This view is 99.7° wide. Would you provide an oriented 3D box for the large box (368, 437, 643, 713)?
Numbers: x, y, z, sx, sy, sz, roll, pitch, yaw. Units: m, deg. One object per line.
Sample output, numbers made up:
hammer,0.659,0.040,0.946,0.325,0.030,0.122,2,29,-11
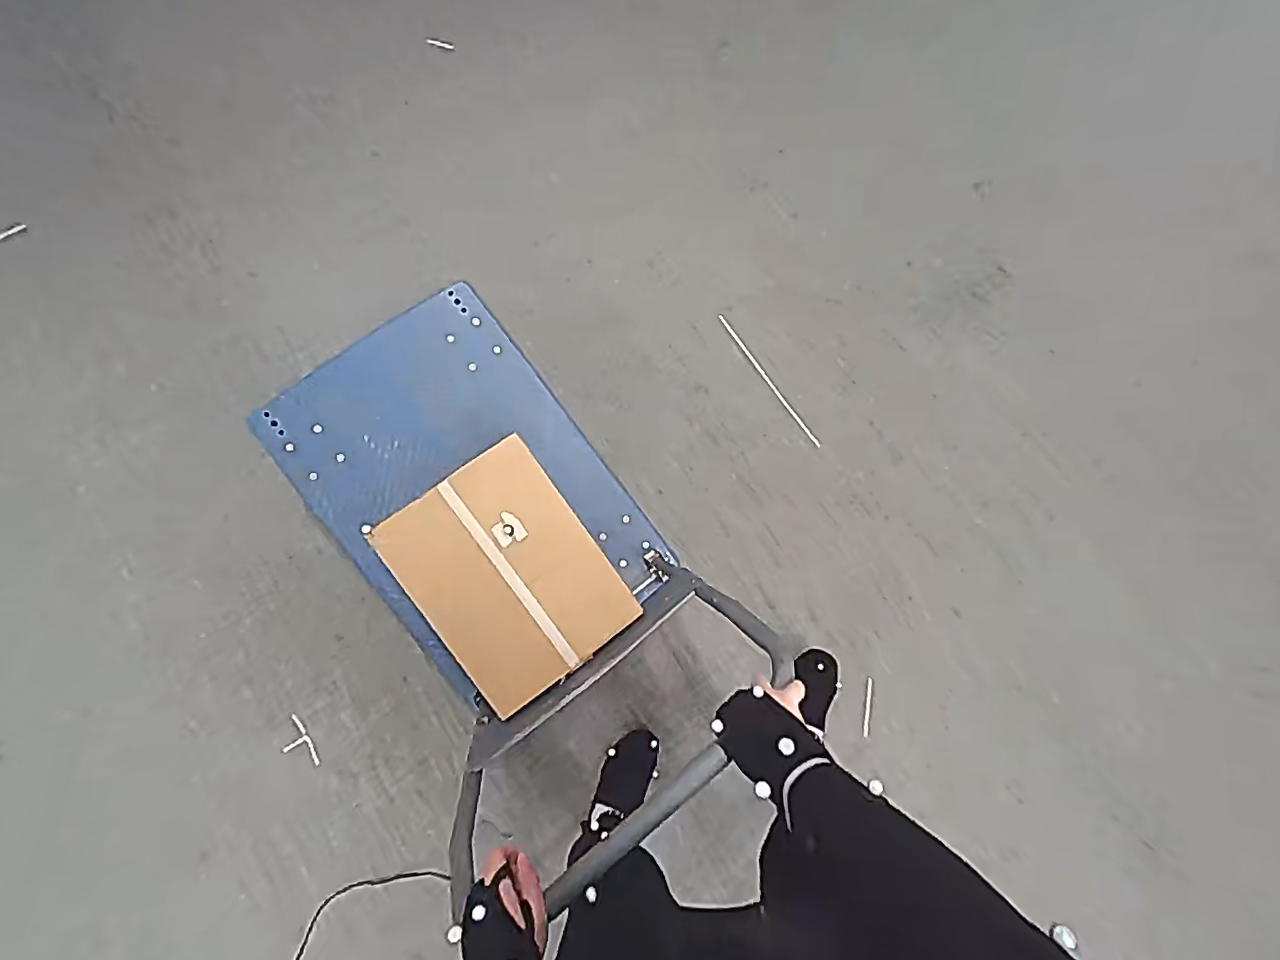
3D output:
large box,-0.249,0.174,1.104,0.320,0.320,0.408,-37,92,-9
